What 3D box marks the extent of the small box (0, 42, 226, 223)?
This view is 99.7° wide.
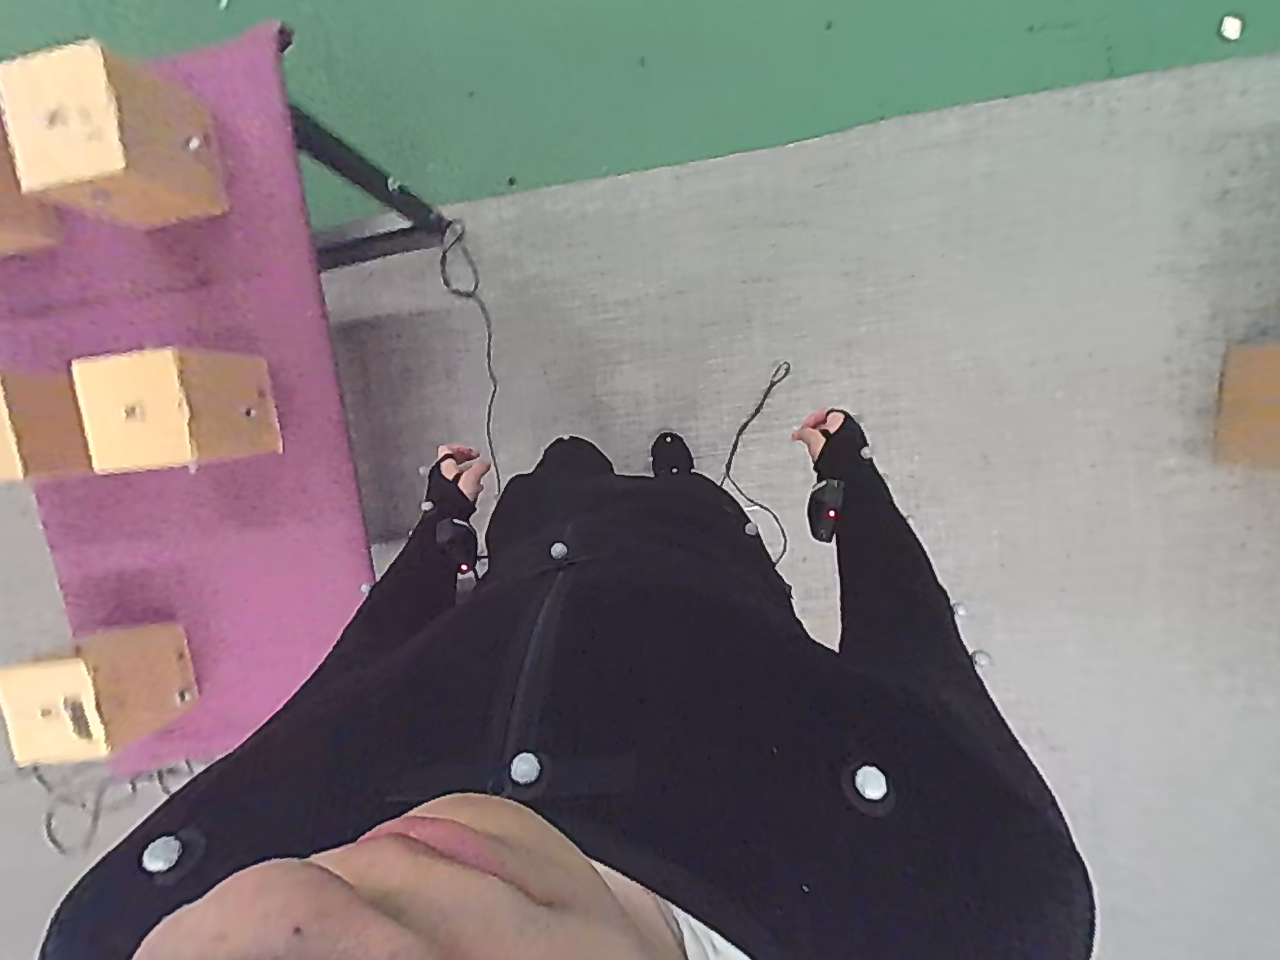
[{"bbox_3d":[-0.788,-0.509,0.821,0.179,0.176,0.168,-5,98,7],"label":"small box"}]

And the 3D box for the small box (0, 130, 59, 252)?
[{"bbox_3d":[-1.105,-0.472,0.857,0.179,0.176,0.168,-7,99,5],"label":"small box"}]

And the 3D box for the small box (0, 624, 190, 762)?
[{"bbox_3d":[-0.938,0.363,0.947,0.179,0.176,0.168,-6,96,6],"label":"small box"}]

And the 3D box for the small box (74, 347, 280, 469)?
[{"bbox_3d":[-0.731,-0.111,0.870,0.179,0.176,0.168,-6,96,7],"label":"small box"}]

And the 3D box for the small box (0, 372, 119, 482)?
[{"bbox_3d":[-1.029,-0.083,0.904,0.179,0.176,0.168,-6,97,5],"label":"small box"}]
